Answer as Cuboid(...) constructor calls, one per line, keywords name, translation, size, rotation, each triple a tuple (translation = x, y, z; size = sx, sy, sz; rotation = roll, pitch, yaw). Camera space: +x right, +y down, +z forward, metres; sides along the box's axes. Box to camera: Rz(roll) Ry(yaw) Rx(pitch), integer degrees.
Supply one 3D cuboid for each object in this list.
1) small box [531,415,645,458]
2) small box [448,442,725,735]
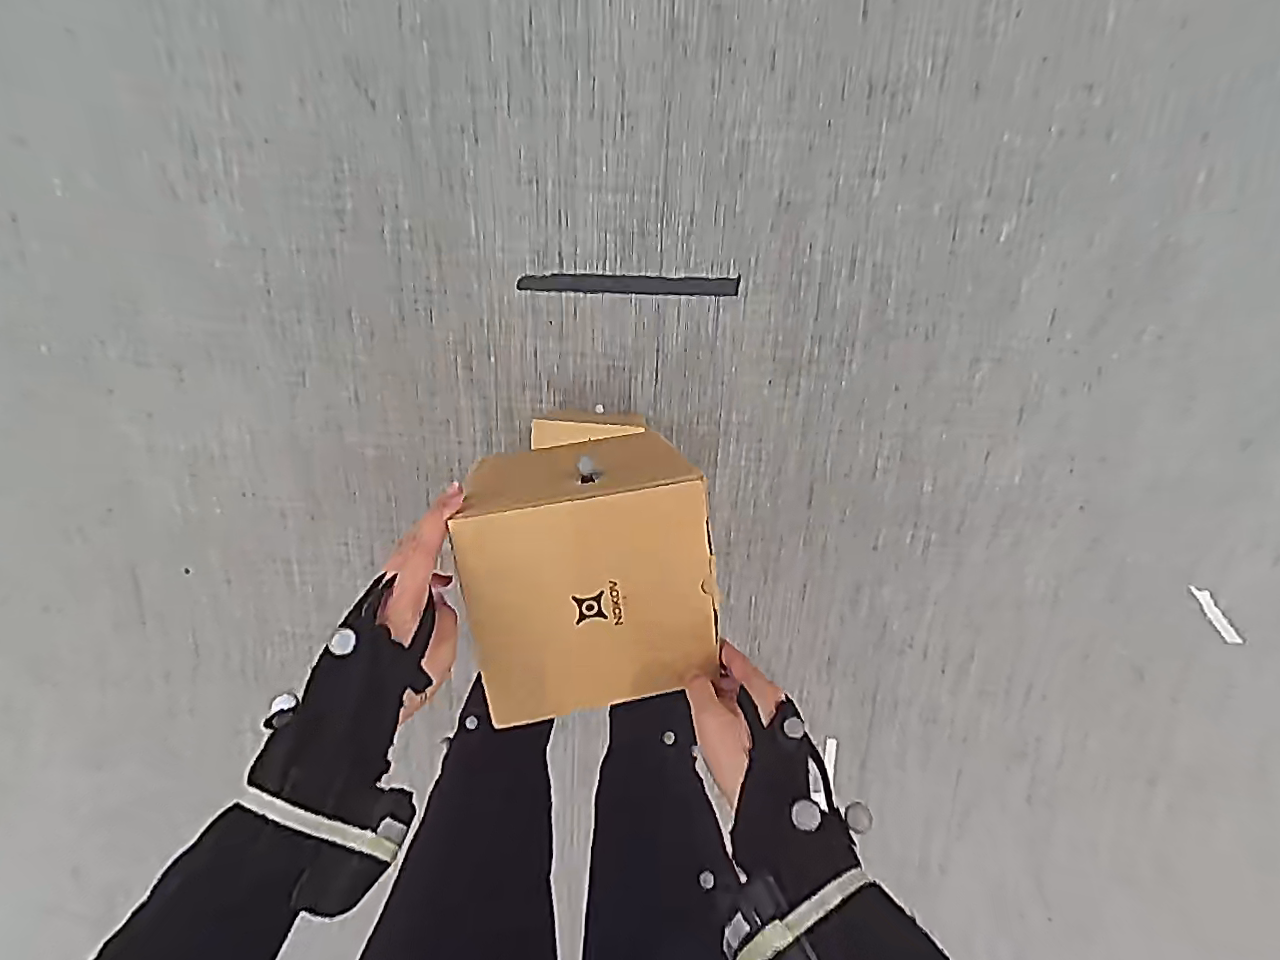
Cuboid(name="small box", translation=(-0.080, -0.006, 0.875), size=(0.168, 0.176, 0.179), rotation=(4, 102, -1))
Cuboid(name="small box", translation=(-0.043, 0.071, 0.452), size=(0.179, 0.176, 0.168), rotation=(-10, 107, -9))
